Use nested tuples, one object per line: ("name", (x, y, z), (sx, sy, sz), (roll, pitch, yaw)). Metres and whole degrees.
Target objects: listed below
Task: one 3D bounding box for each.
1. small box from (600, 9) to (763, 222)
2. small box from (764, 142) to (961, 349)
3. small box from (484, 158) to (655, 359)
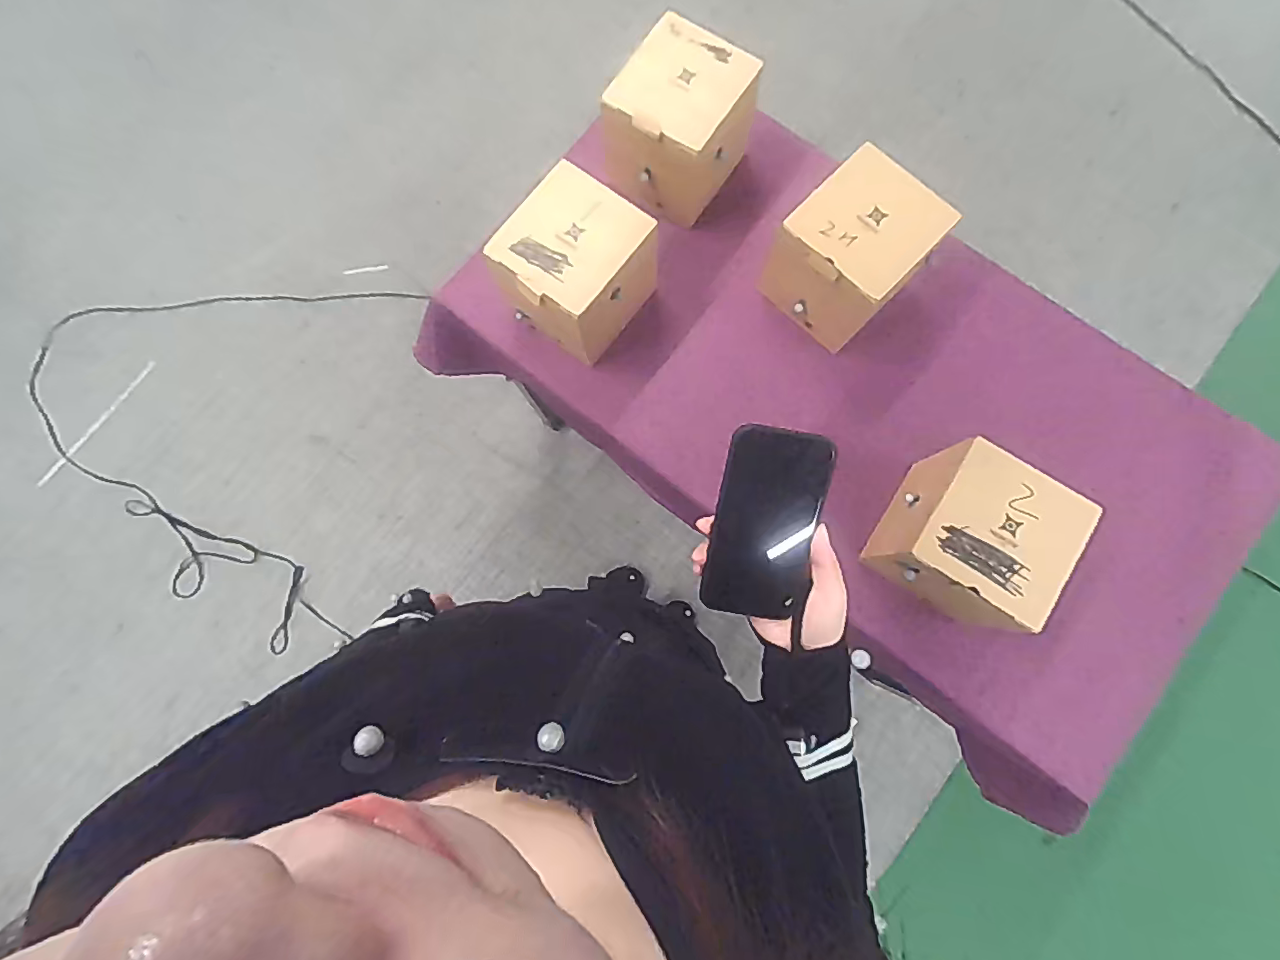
("small box", (0.061, -0.541, 0.828), (0.168, 0.176, 0.179), (34, 84, 6))
("small box", (0.305, -0.327, 0.785), (0.179, 0.176, 0.168), (-44, 82, -5))
("small box", (-0.091, -0.310, 0.793), (0.168, 0.176, 0.179), (37, 82, 6))
